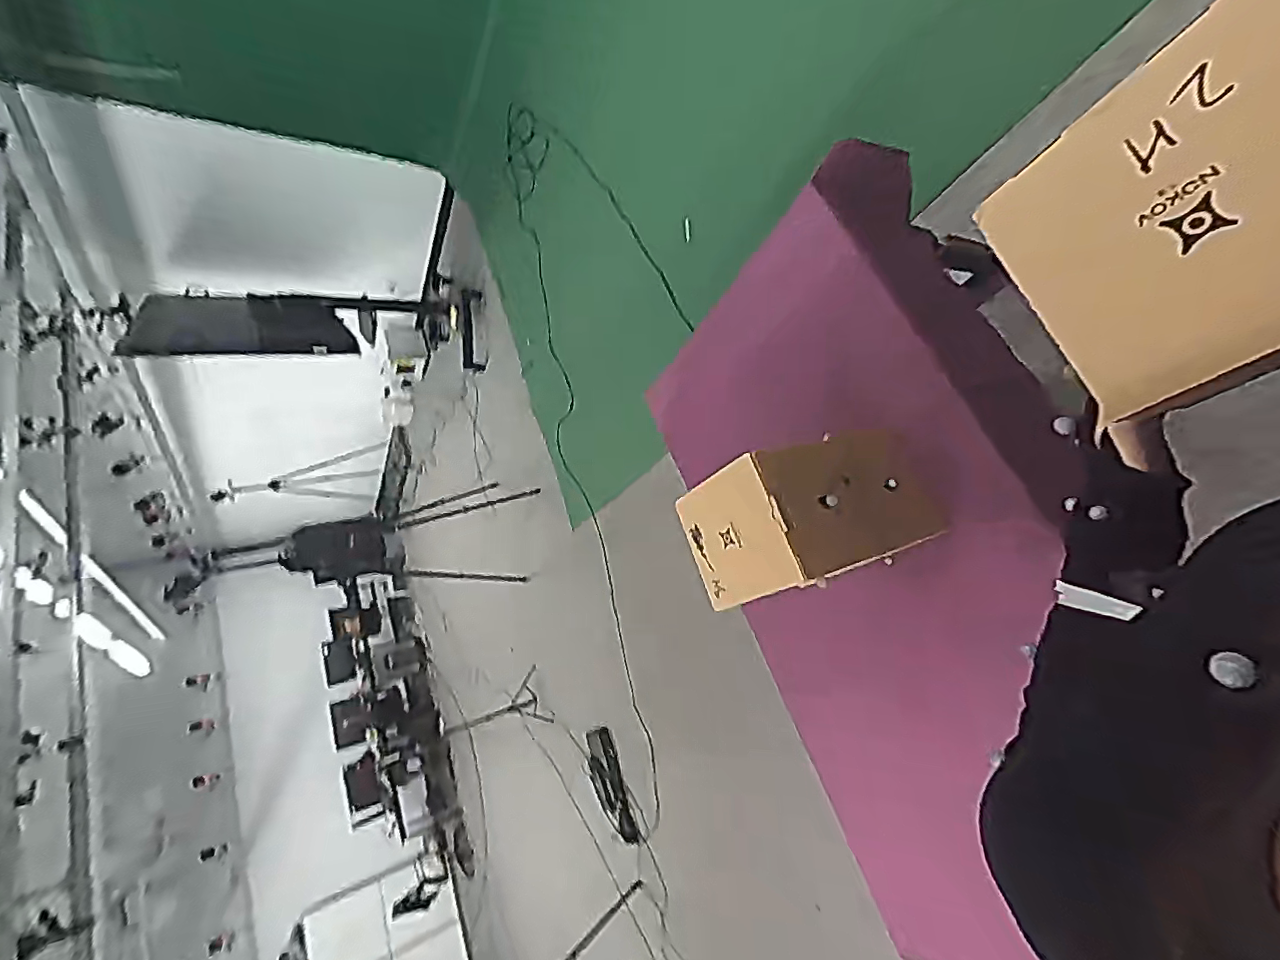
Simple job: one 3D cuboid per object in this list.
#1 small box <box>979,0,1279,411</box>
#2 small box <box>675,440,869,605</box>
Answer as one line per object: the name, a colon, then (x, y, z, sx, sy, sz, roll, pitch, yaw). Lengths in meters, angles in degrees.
small box: (0.372, -0.162, 0.343, 0.168, 0.176, 0.179, -40, 64, 51)
small box: (0.183, 0.055, 0.740, 0.179, 0.176, 0.168, -38, 67, 51)
